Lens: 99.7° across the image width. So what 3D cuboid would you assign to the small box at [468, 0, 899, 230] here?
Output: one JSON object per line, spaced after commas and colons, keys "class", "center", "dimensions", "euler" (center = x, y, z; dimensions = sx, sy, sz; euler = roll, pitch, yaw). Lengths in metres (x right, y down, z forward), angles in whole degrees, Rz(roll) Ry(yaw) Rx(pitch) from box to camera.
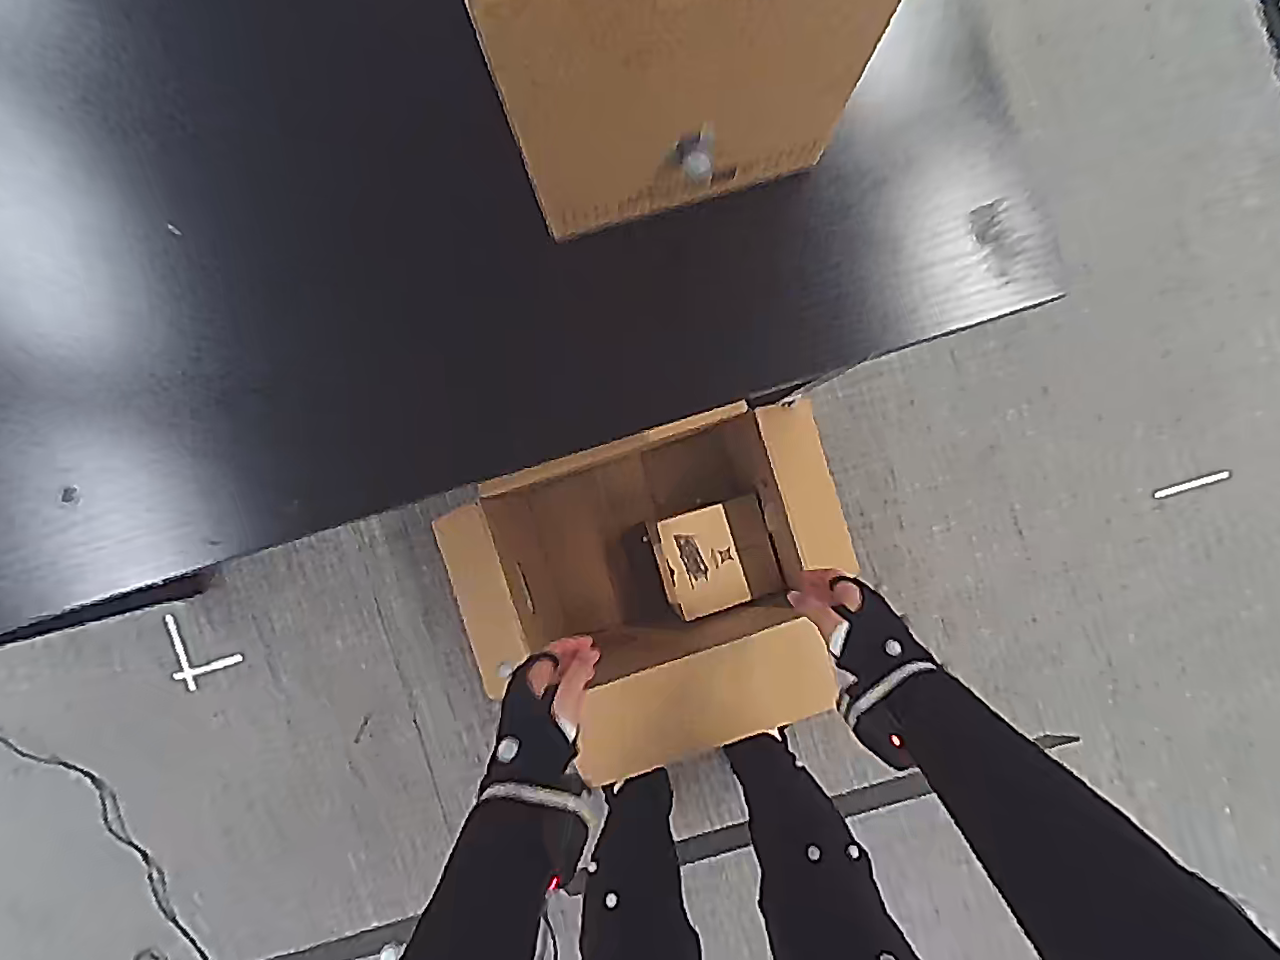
{"class": "small box", "center": [0.002, -0.248, 0.238], "dimensions": [0.168, 0.176, 0.179], "euler": [-15, 89, 1]}
